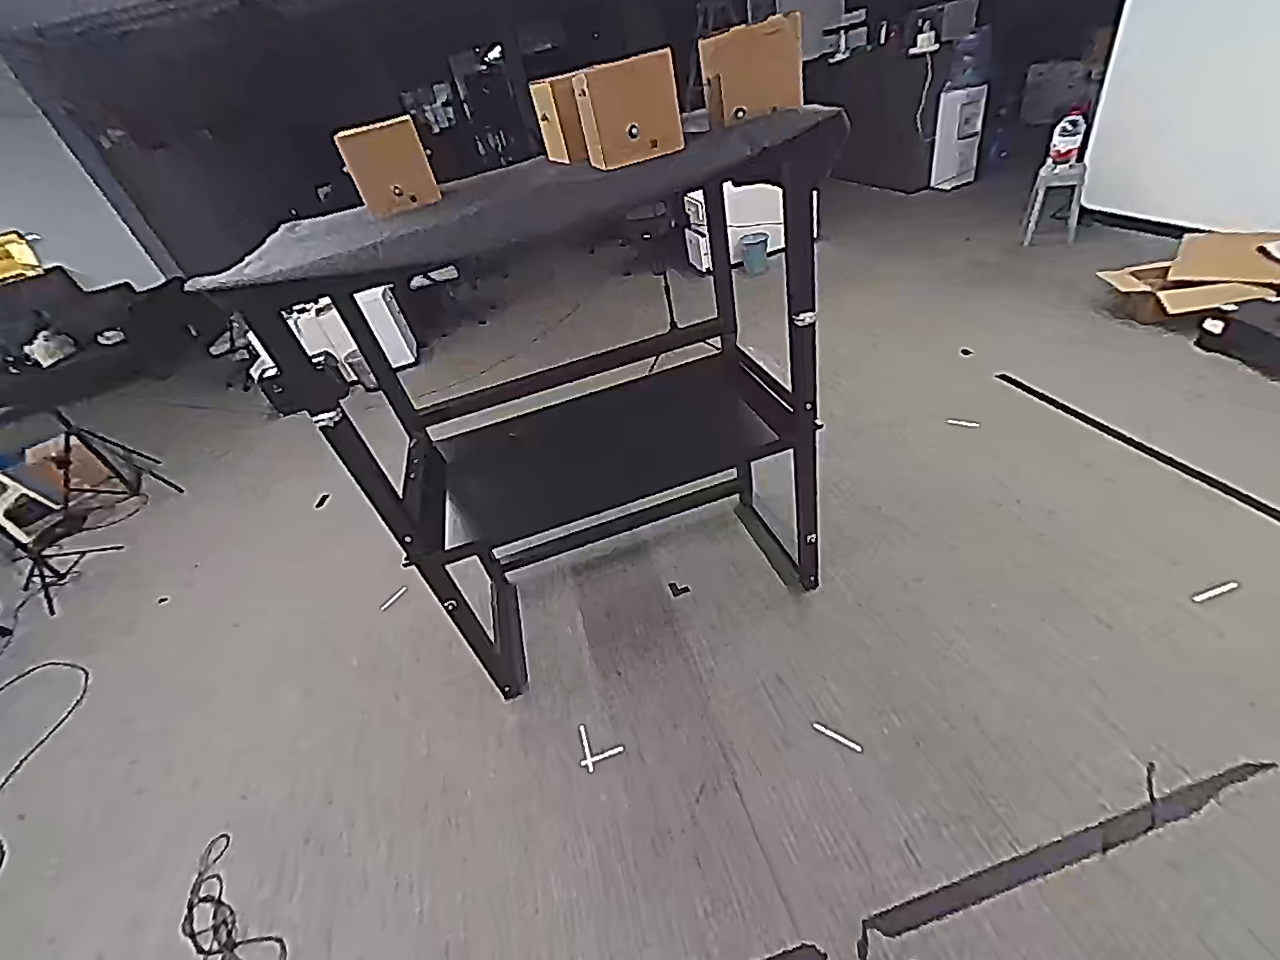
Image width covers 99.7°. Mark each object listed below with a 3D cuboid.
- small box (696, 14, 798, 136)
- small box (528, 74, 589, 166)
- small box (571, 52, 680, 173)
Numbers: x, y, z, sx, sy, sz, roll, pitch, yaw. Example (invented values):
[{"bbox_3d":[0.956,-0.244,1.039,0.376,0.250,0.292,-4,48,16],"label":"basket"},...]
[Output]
[{"bbox_3d":[0.224,-0.836,1.130,0.168,0.176,0.179,-14,35,3],"label":"small box"},{"bbox_3d":[-0.153,-0.882,1.321,0.168,0.176,0.179,-25,38,-12],"label":"small box"},{"bbox_3d":[-0.030,-0.733,1.091,0.168,0.176,0.179,-19,36,-5],"label":"small box"}]
